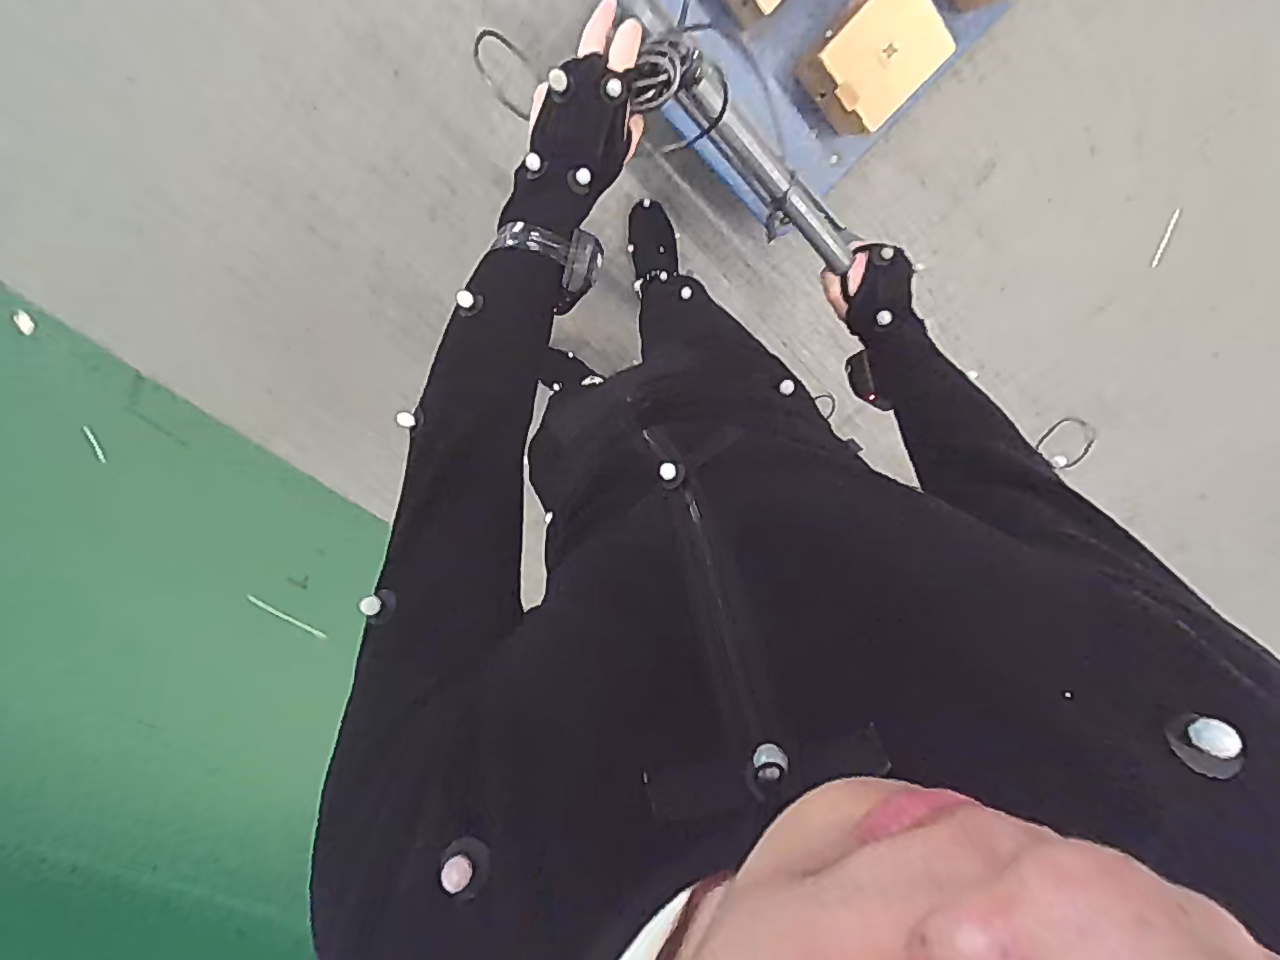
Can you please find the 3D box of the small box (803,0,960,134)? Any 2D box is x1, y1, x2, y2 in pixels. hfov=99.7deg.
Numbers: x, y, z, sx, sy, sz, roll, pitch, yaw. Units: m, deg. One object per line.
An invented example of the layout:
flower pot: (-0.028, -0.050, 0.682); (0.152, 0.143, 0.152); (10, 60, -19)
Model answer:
small box: (0.429, -0.774, 0.989); (0.168, 0.176, 0.179); (38, 115, -22)

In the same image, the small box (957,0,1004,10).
small box: (0.614, -0.935, 0.888); (0.168, 0.176, 0.179); (36, 116, -20)
